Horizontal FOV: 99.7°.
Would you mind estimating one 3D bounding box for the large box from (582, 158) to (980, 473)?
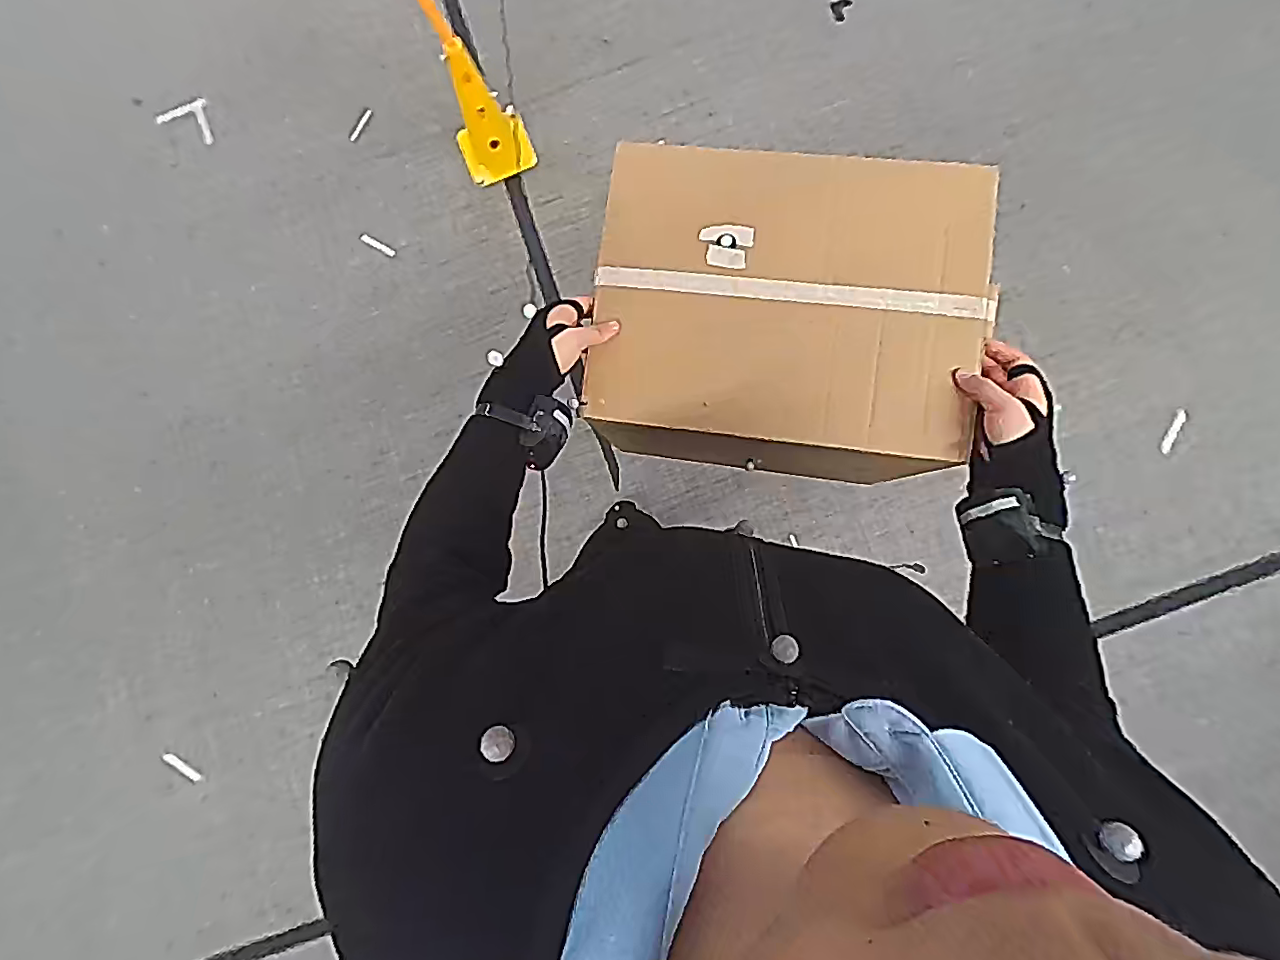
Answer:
[{"bbox_3d":[0.166,-0.187,0.728,0.408,0.320,0.320,6,85,8],"label":"large box"}]
